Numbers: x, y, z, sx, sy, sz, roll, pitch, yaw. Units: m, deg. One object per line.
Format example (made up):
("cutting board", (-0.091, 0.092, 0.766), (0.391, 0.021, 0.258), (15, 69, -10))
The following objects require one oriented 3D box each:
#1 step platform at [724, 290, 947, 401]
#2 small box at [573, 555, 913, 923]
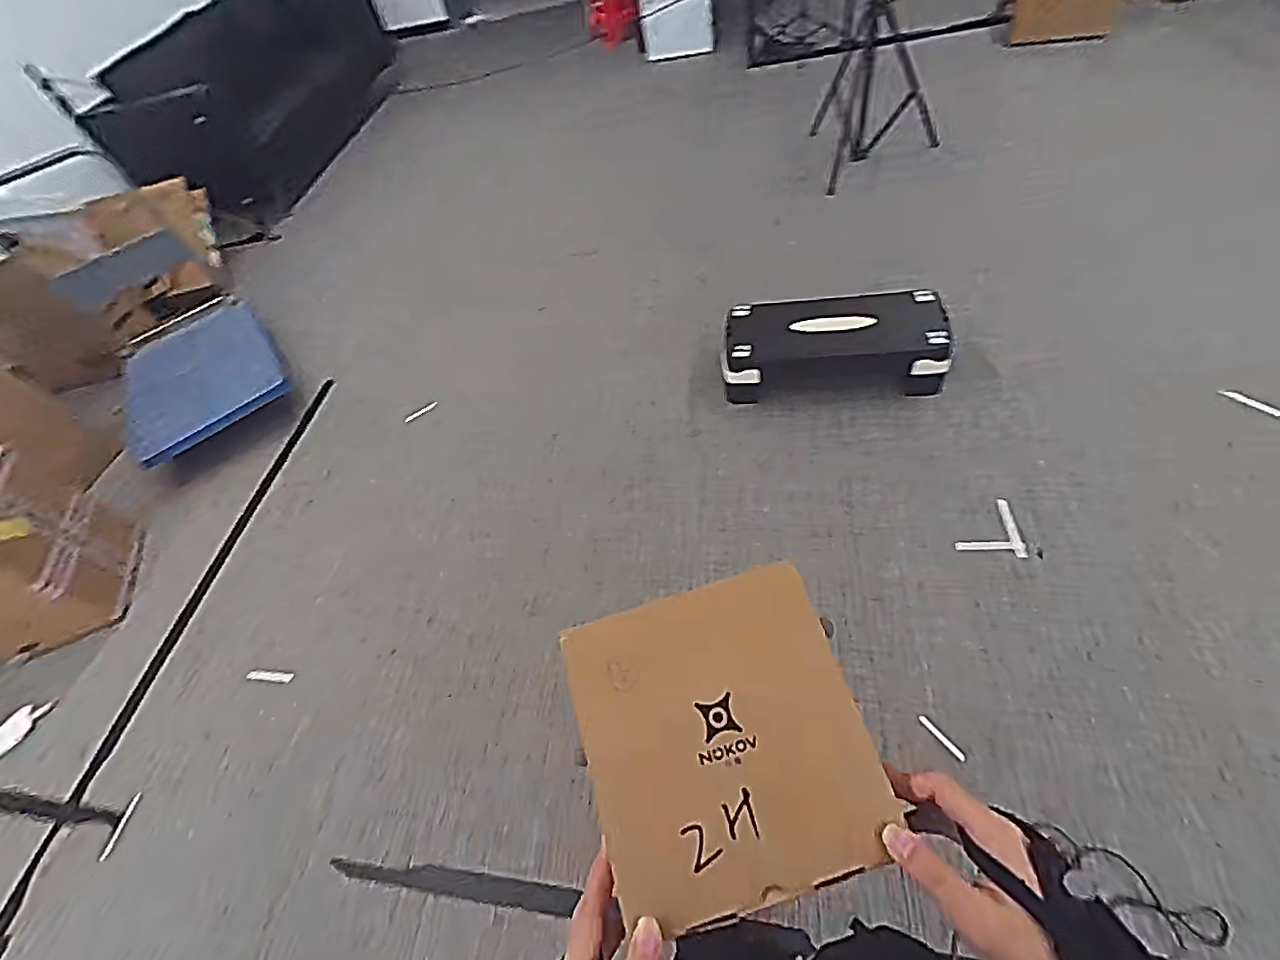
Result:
("step platform", (0.621, -0.440, 1.782), (0.684, 0.204, 0.286), (-2, 53, 13))
("small box", (0.059, 0.179, 0.403), (0.168, 0.176, 0.179), (-16, 65, -1))
